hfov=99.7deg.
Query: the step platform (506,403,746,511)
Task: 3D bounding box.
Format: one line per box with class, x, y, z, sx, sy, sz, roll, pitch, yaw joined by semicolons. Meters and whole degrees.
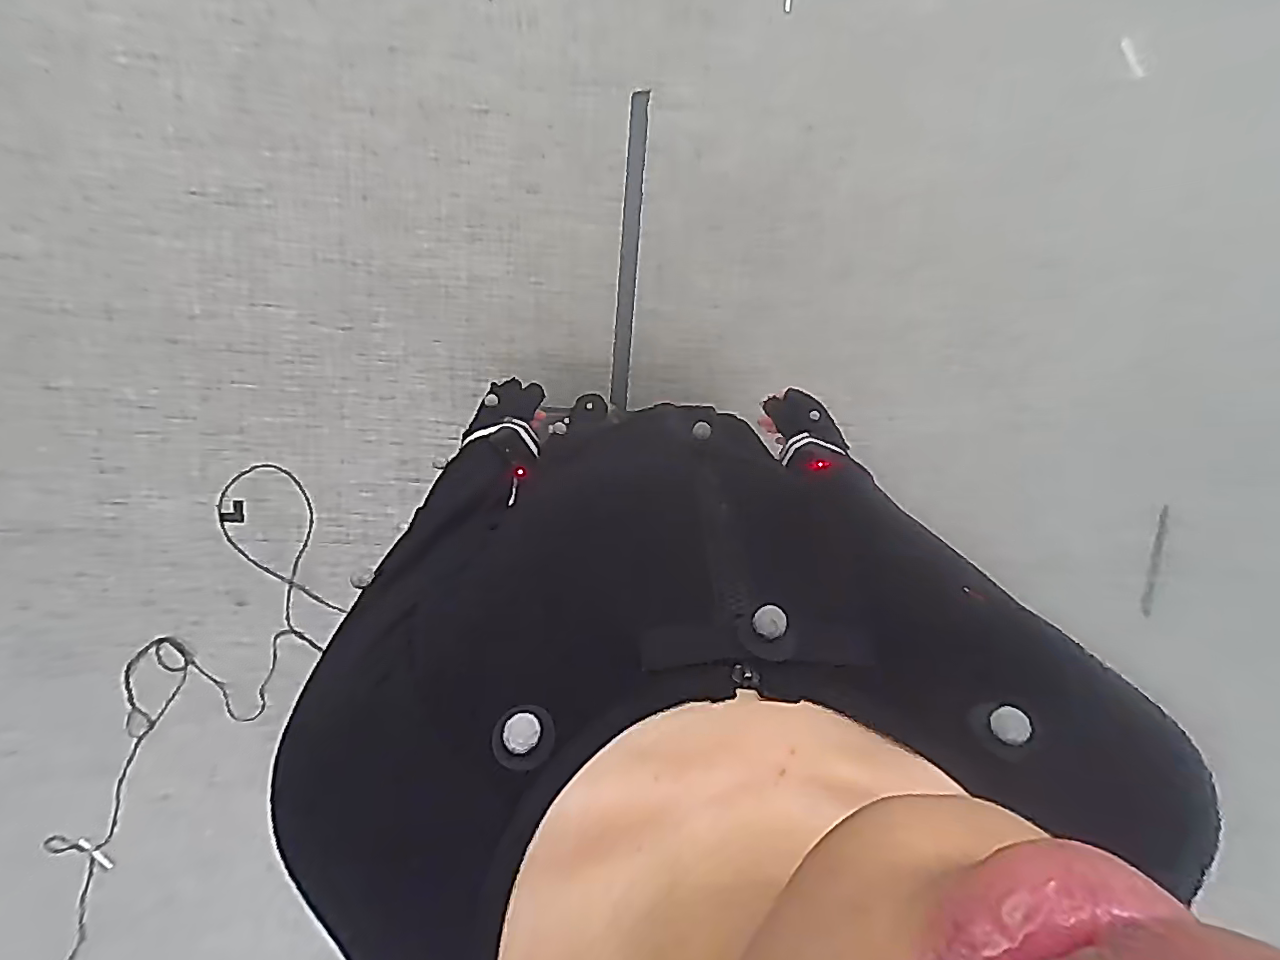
step platform;-0.039;-0.068;1.566;0.684;0.204;0.286;1;100;-5
